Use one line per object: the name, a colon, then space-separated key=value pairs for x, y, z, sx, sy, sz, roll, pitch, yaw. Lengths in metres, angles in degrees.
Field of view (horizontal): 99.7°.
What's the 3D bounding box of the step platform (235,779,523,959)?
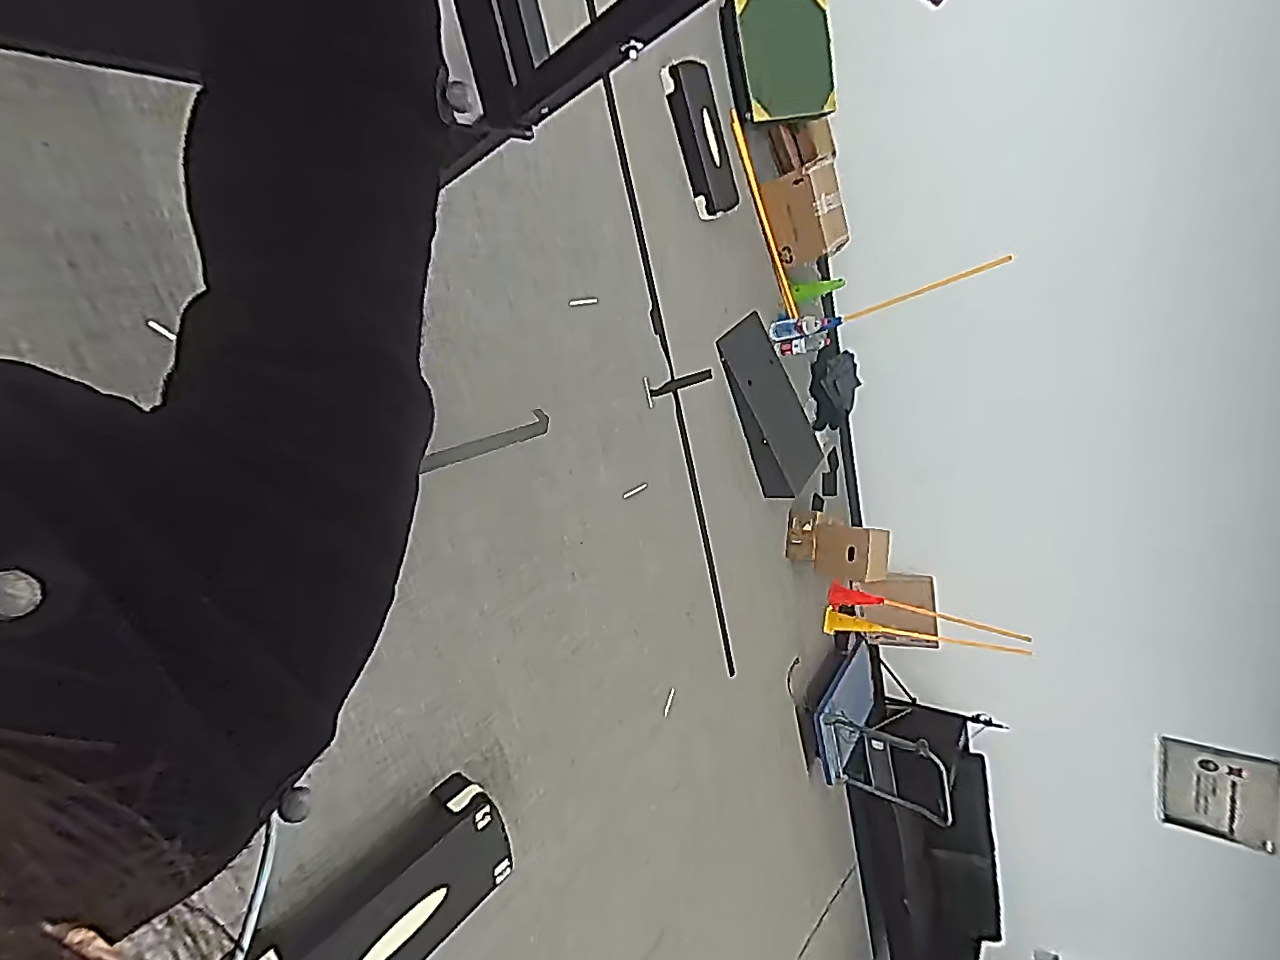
step platform: x=-0.636 y=1.138 z=1.440 sx=0.684 sy=0.204 sz=0.286 roll=-19 pitch=103 yaw=-48
